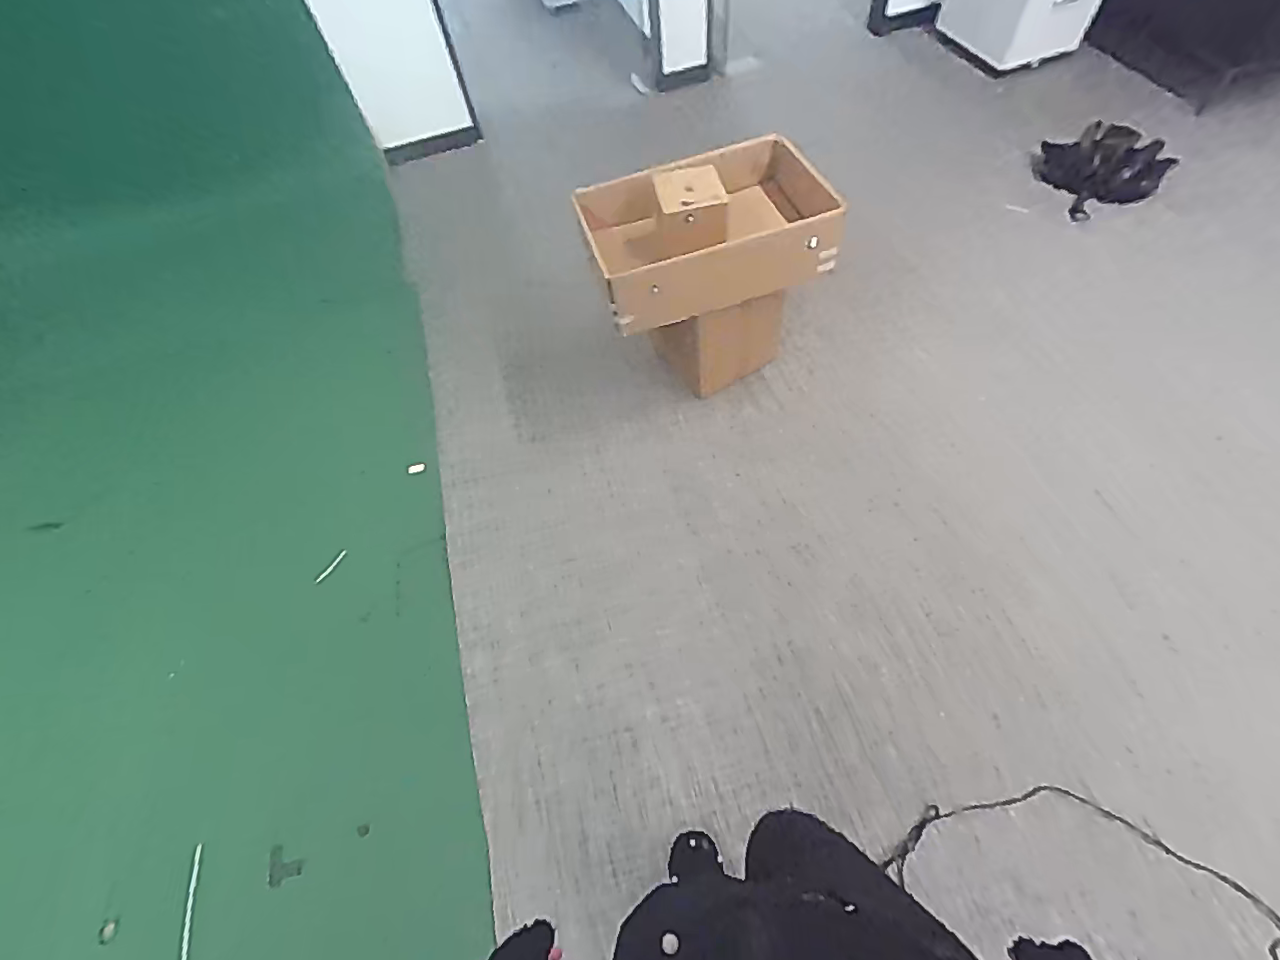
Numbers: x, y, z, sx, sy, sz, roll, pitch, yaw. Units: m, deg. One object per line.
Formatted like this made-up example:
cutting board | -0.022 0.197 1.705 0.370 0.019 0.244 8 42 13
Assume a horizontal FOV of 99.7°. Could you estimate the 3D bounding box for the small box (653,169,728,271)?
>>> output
small box | 0.132 -0.690 1.443 0.168 0.176 0.179 -12 58 0
